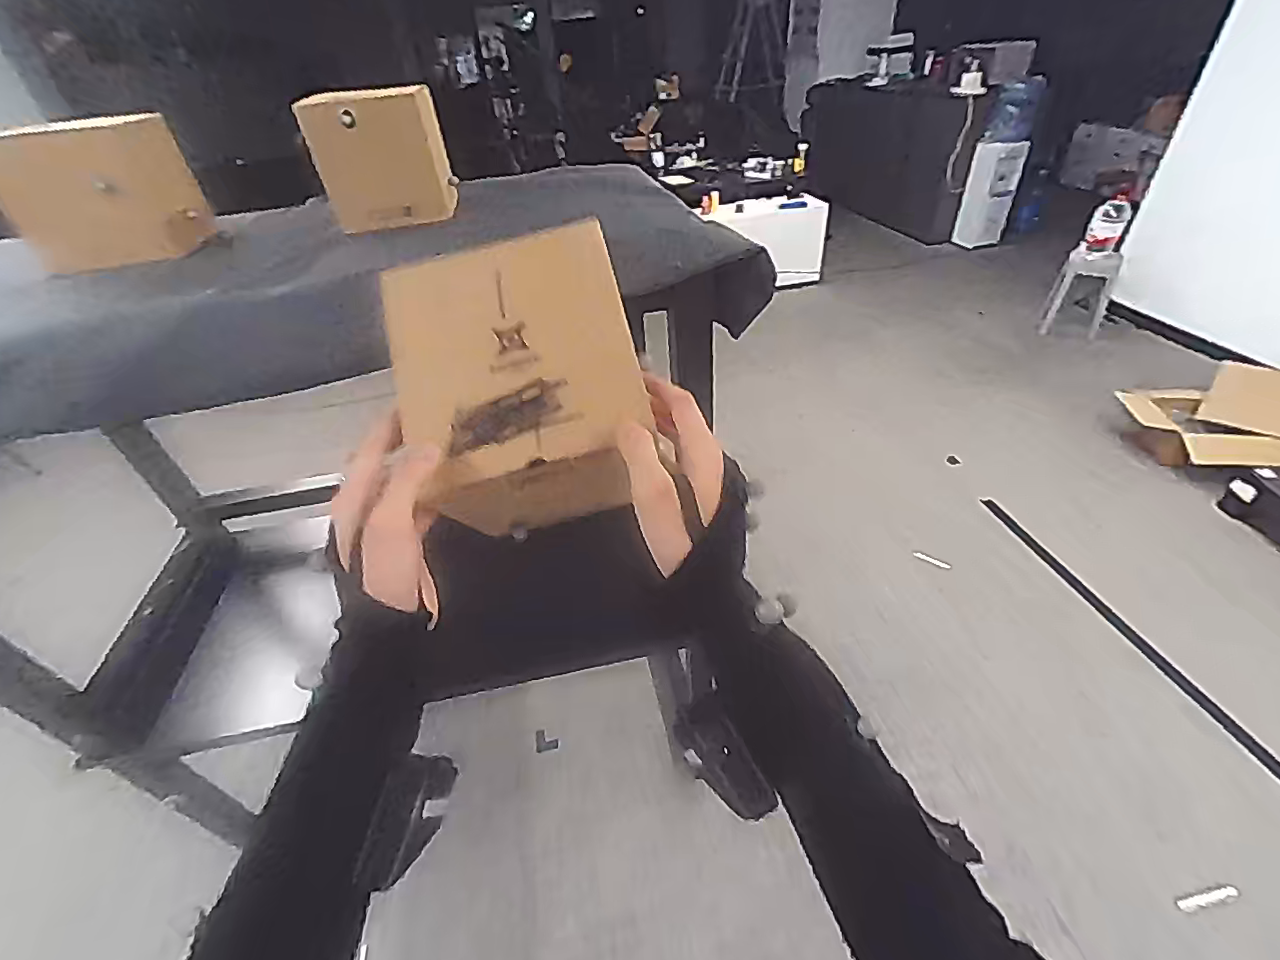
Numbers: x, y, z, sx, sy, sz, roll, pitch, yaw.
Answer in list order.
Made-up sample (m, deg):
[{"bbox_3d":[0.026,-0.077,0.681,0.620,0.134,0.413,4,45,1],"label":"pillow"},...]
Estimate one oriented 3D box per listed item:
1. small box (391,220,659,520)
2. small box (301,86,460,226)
[{"bbox_3d":[-0.081,-0.073,0.453,0.168,0.176,0.179,-14,74,-2],"label":"small box"},{"bbox_3d":[-0.393,-0.515,0.859,0.168,0.176,0.179,-11,39,-6],"label":"small box"}]
